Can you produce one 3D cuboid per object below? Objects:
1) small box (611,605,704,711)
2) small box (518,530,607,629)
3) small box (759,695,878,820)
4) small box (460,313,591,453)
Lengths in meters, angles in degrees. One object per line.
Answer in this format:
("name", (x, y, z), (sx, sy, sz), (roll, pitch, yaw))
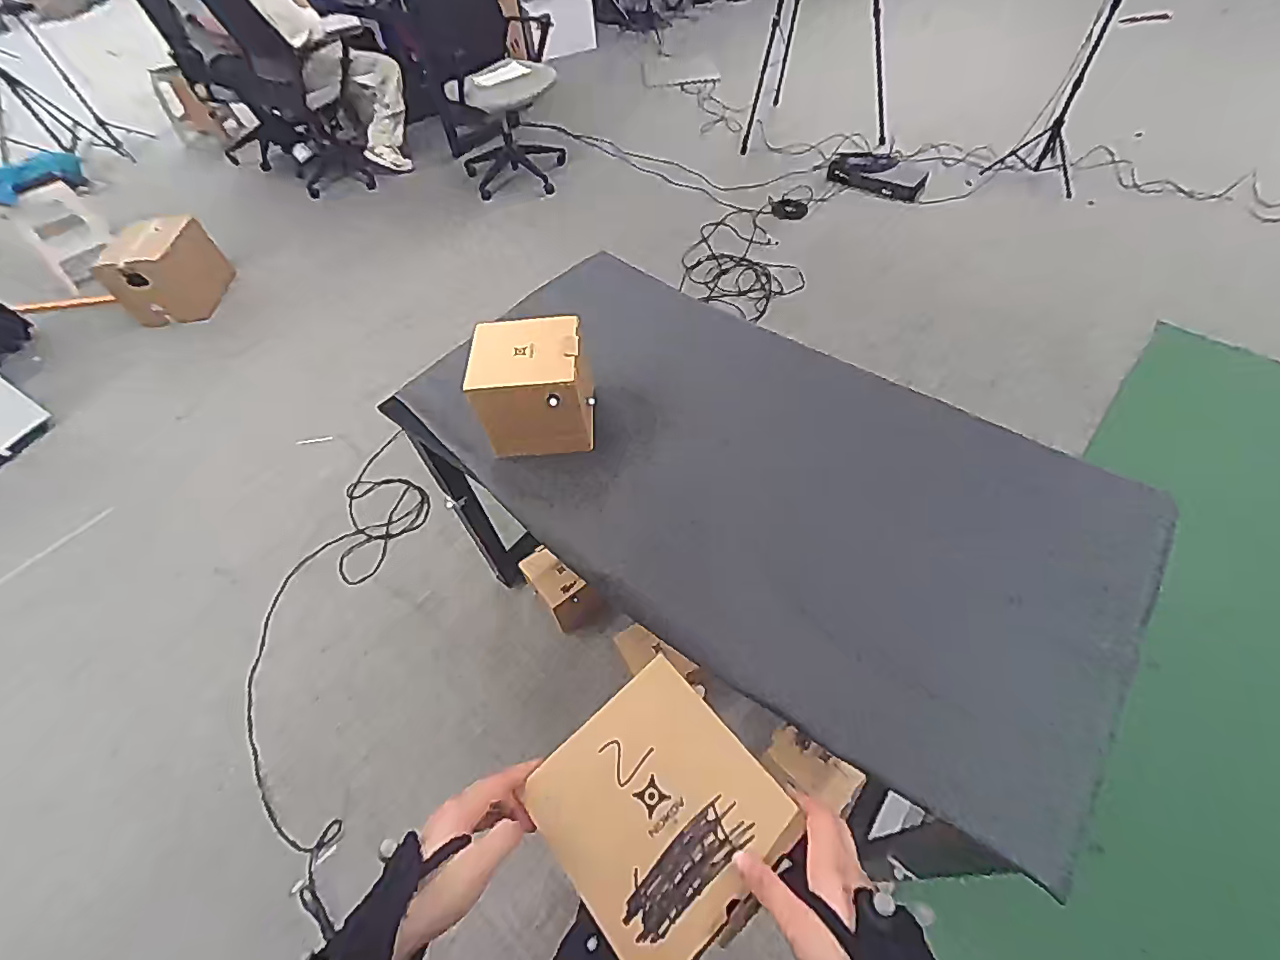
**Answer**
("small box", (0.047, 0.452, 1.352), (0.168, 0.176, 0.179), (-27, 54, -15))
("small box", (-0.212, 0.280, 1.508), (0.168, 0.176, 0.179), (-34, 56, -19))
("small box", (0.383, 0.617, 1.193), (0.179, 0.176, 0.168), (37, 64, 27))
("small box", (-0.184, -0.161, 0.924), (0.179, 0.176, 0.168), (-5, 52, 1))
